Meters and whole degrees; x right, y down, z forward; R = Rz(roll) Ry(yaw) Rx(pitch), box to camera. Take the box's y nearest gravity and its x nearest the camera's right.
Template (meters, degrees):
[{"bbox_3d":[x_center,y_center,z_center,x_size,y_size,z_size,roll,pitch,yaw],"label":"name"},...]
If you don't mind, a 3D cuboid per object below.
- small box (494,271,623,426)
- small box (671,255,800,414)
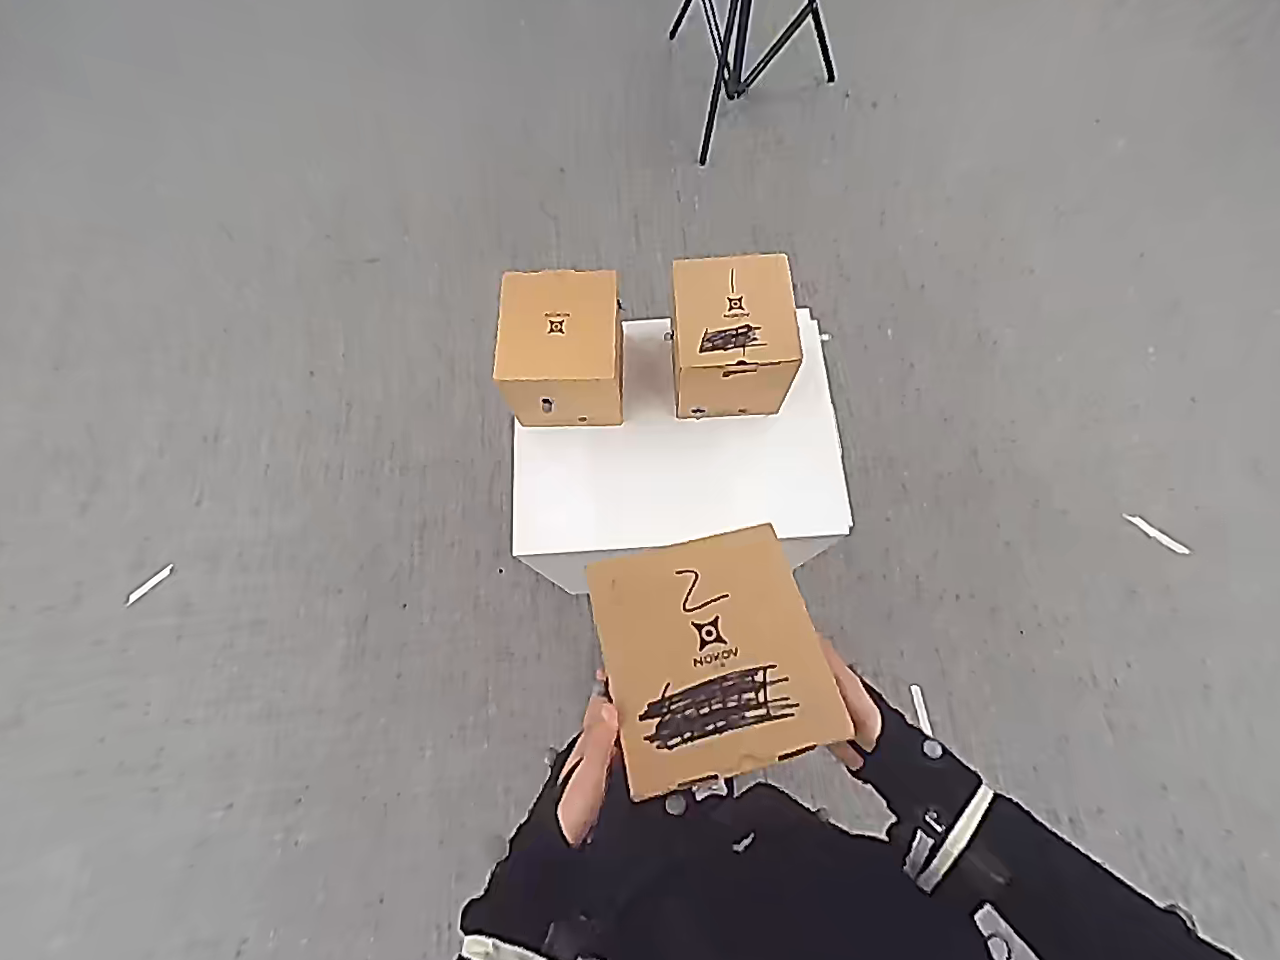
[{"bbox_3d":[-0.112,-0.189,0.821,0.168,0.176,0.179,-1,72,1],"label":"small box"},{"bbox_3d":[0.133,-0.208,0.817,0.168,0.176,0.179,-3,72,1],"label":"small box"}]
